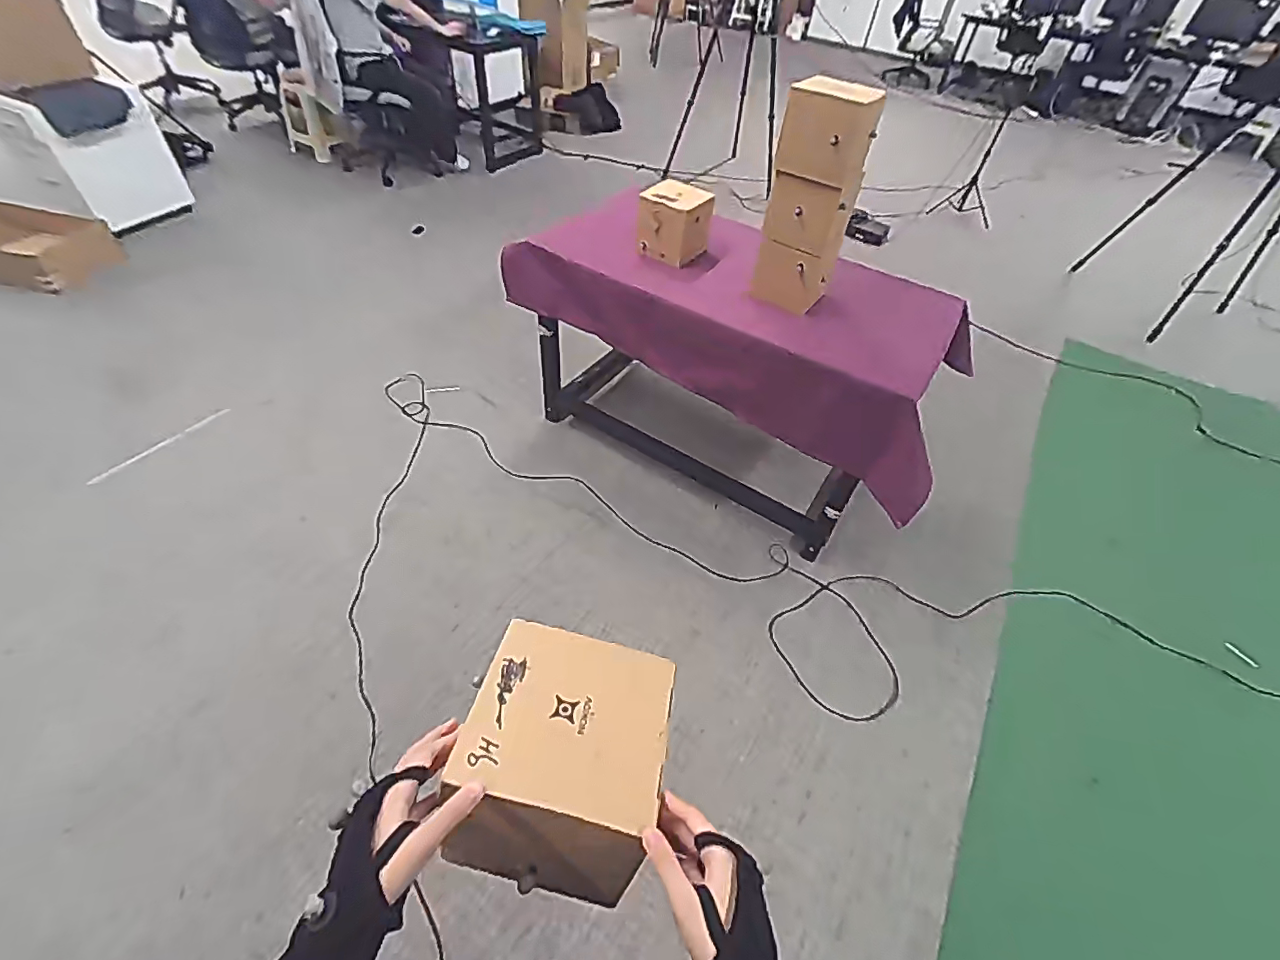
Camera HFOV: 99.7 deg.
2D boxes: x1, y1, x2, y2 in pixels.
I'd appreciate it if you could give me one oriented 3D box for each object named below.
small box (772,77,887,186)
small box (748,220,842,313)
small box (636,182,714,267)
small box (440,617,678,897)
[{"bbox_3d":[0.434,-0.806,1.256,0.179,0.176,0.168,29,51,20],"label":"small box"},{"bbox_3d":[0.426,-0.589,1.503,0.179,0.176,0.168,30,52,19],"label":"small box"},{"bbox_3d":[0.101,-0.768,1.630,0.168,0.176,0.179,29,51,18],"label":"small box"},{"bbox_3d":[-0.077,0.270,0.528,0.179,0.176,0.168,17,34,0],"label":"small box"}]
